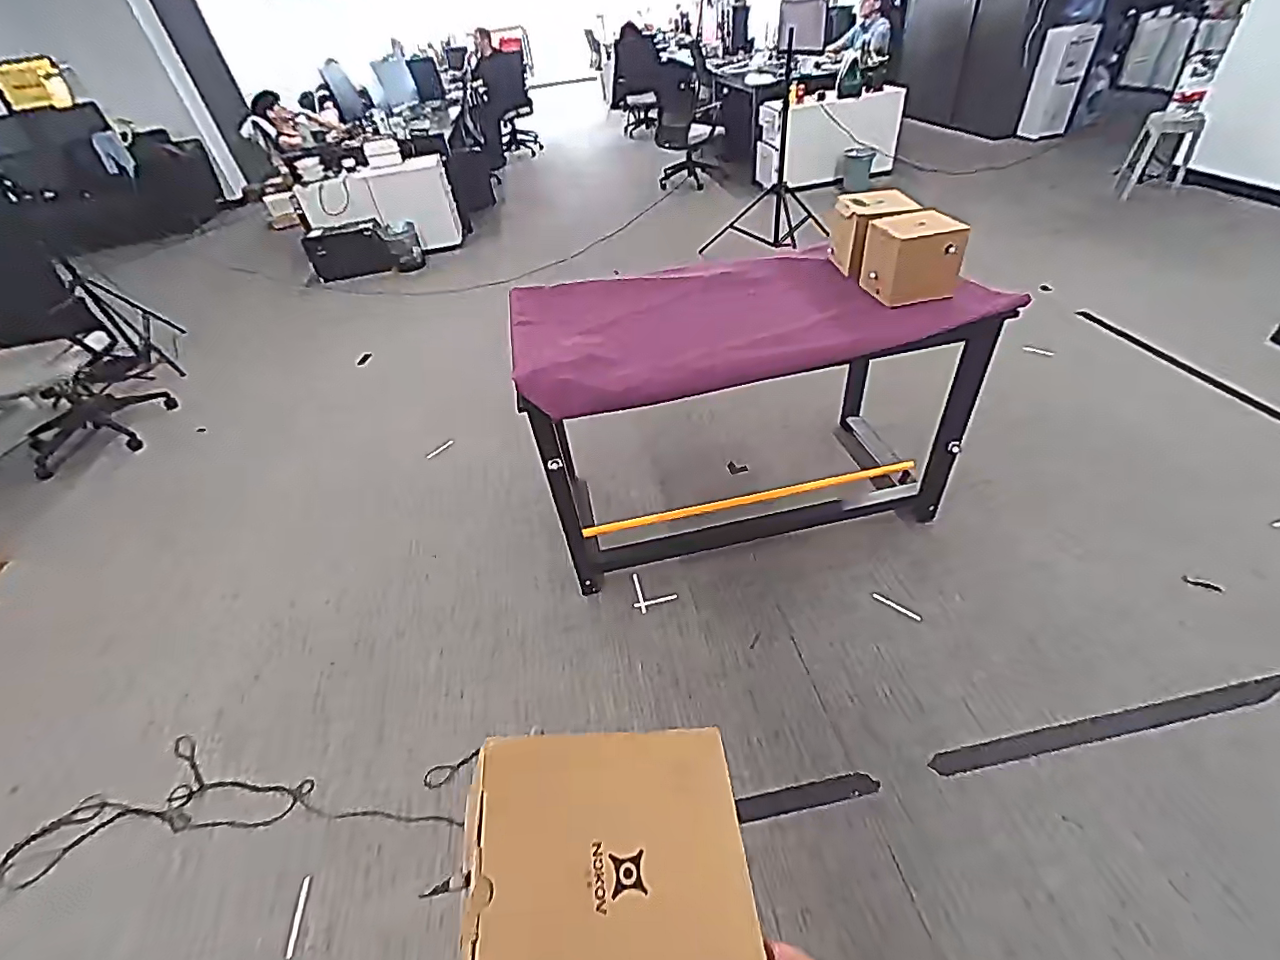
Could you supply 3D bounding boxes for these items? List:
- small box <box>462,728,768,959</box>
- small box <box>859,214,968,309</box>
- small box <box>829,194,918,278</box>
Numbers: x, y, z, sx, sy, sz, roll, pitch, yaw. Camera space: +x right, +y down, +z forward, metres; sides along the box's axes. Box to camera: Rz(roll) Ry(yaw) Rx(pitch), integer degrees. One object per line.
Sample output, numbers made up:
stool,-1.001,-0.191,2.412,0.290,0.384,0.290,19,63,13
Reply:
small box,-0.033,0.294,0.398,0.179,0.176,0.168,5,49,-17
small box,0.684,-0.555,1.377,0.179,0.176,0.168,-11,40,-2
small box,0.646,-0.684,1.525,0.179,0.176,0.168,-7,43,0
